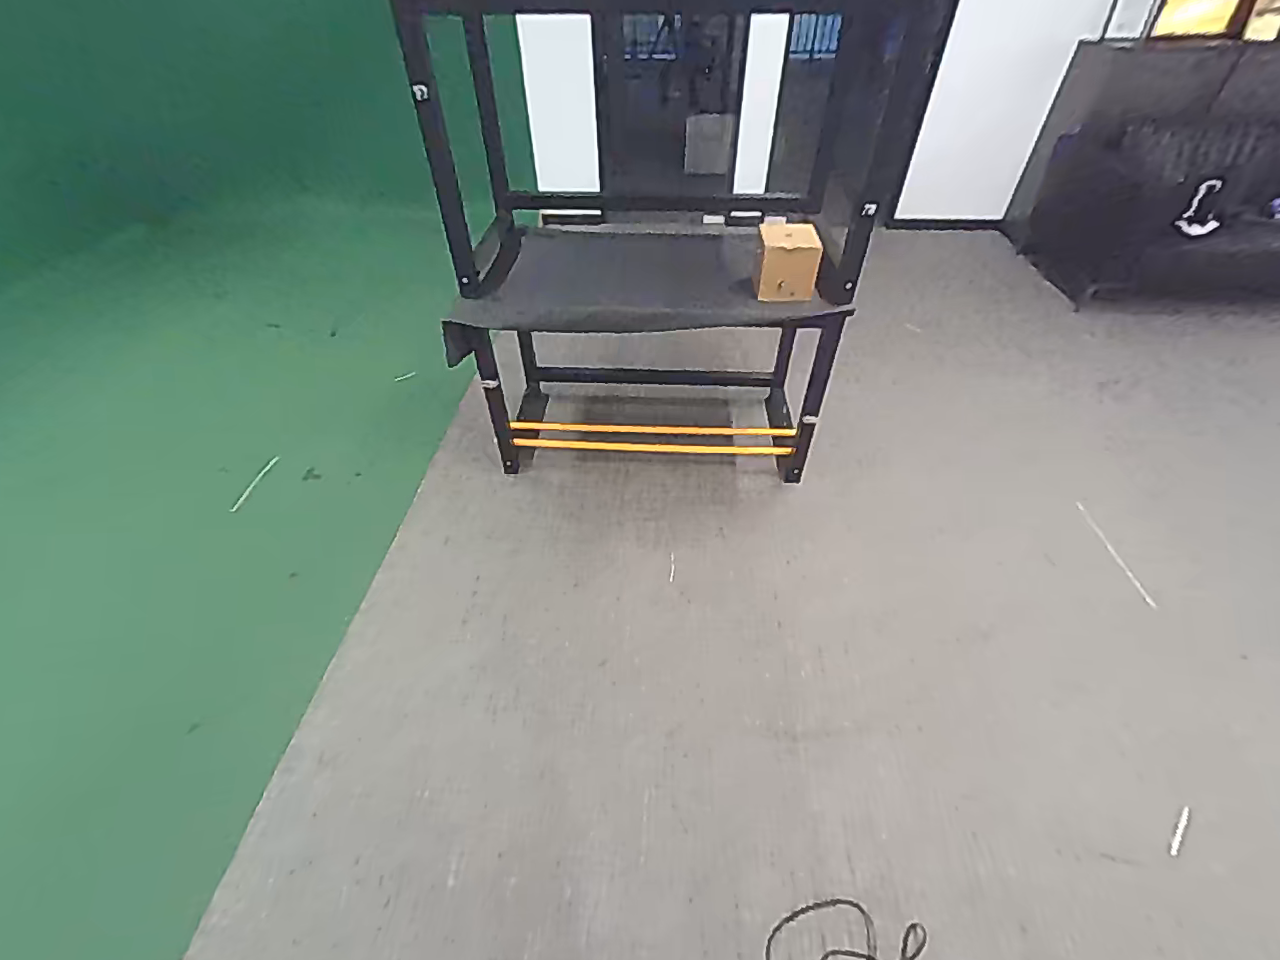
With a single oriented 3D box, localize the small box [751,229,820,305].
[{"bbox_3d":[0.439,-0.655,1.661,0.168,0.176,0.179,1,44,3],"label":"small box"}]
